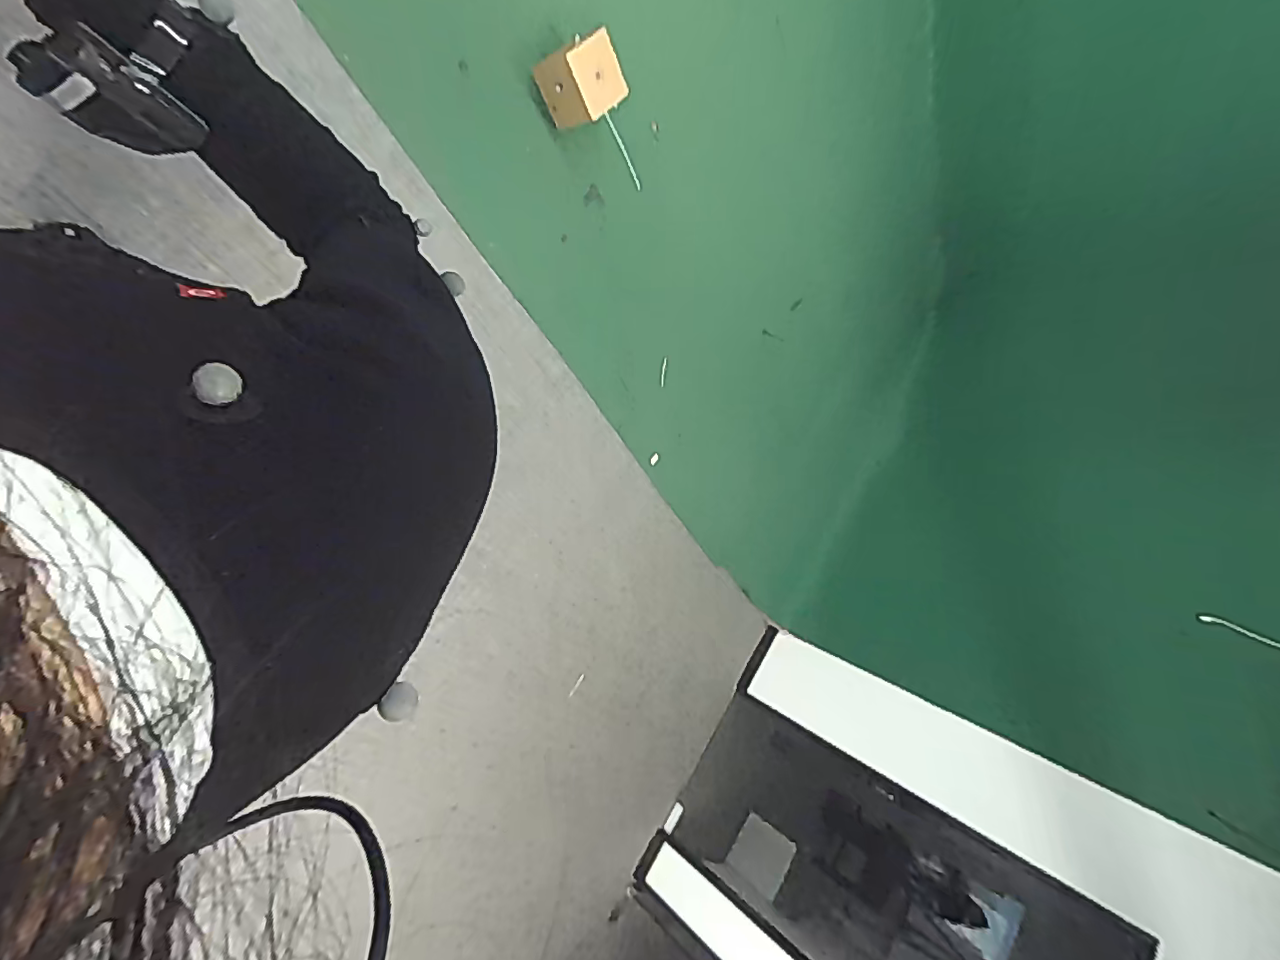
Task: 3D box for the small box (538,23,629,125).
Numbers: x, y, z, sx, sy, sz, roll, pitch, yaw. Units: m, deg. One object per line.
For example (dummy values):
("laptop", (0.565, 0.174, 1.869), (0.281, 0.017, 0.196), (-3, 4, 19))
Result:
("small box", (-0.169, -1.156, 1.552), (0.179, 0.176, 0.168), (-51, 135, -21))
